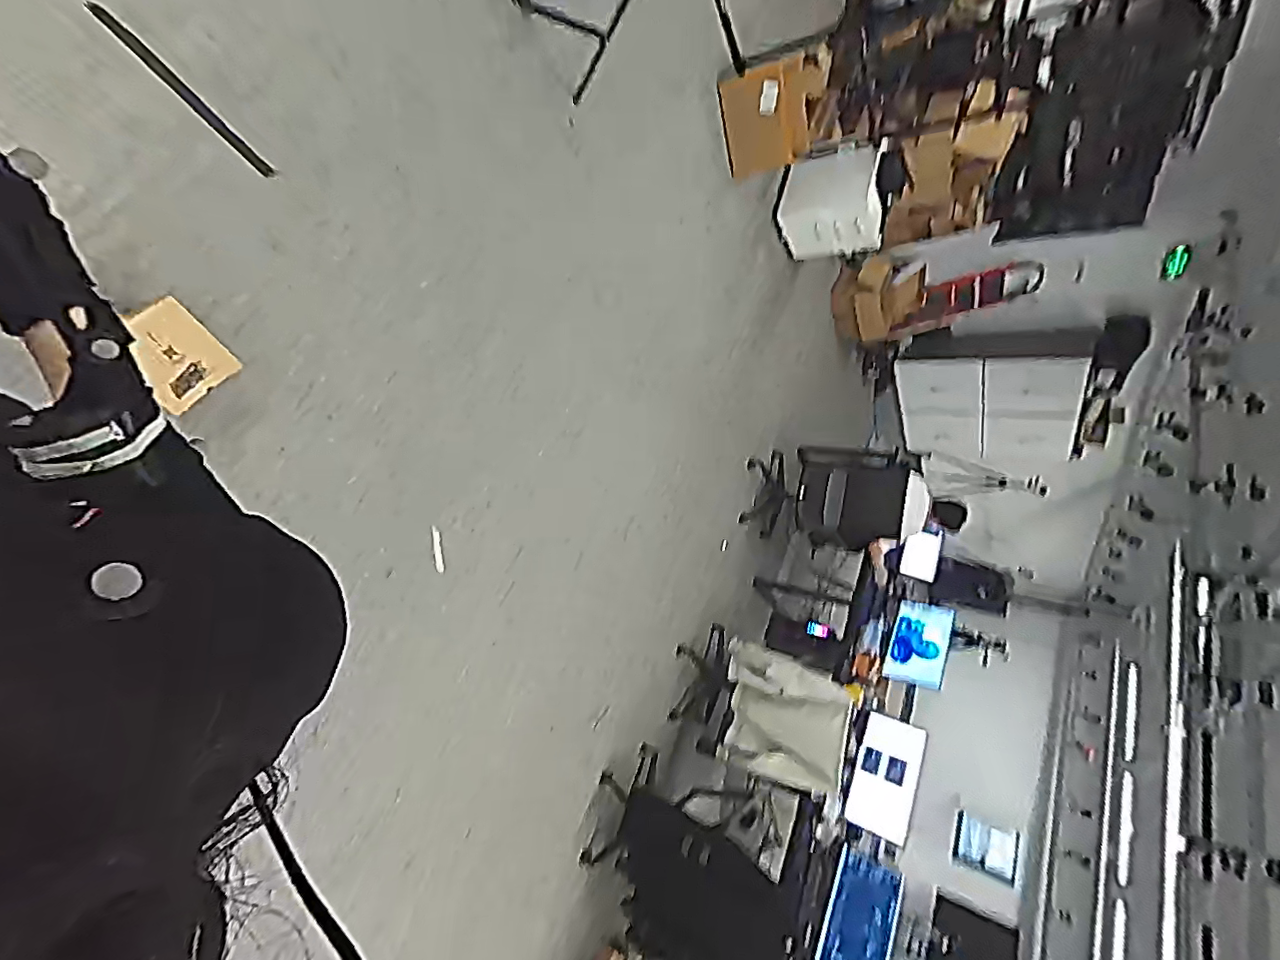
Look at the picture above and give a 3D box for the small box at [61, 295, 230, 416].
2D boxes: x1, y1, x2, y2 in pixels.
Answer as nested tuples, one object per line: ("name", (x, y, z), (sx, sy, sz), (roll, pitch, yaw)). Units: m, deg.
("small box", (-0.997, -0.251, 1.094), (0.168, 0.176, 0.179), (-57, 137, -32))
